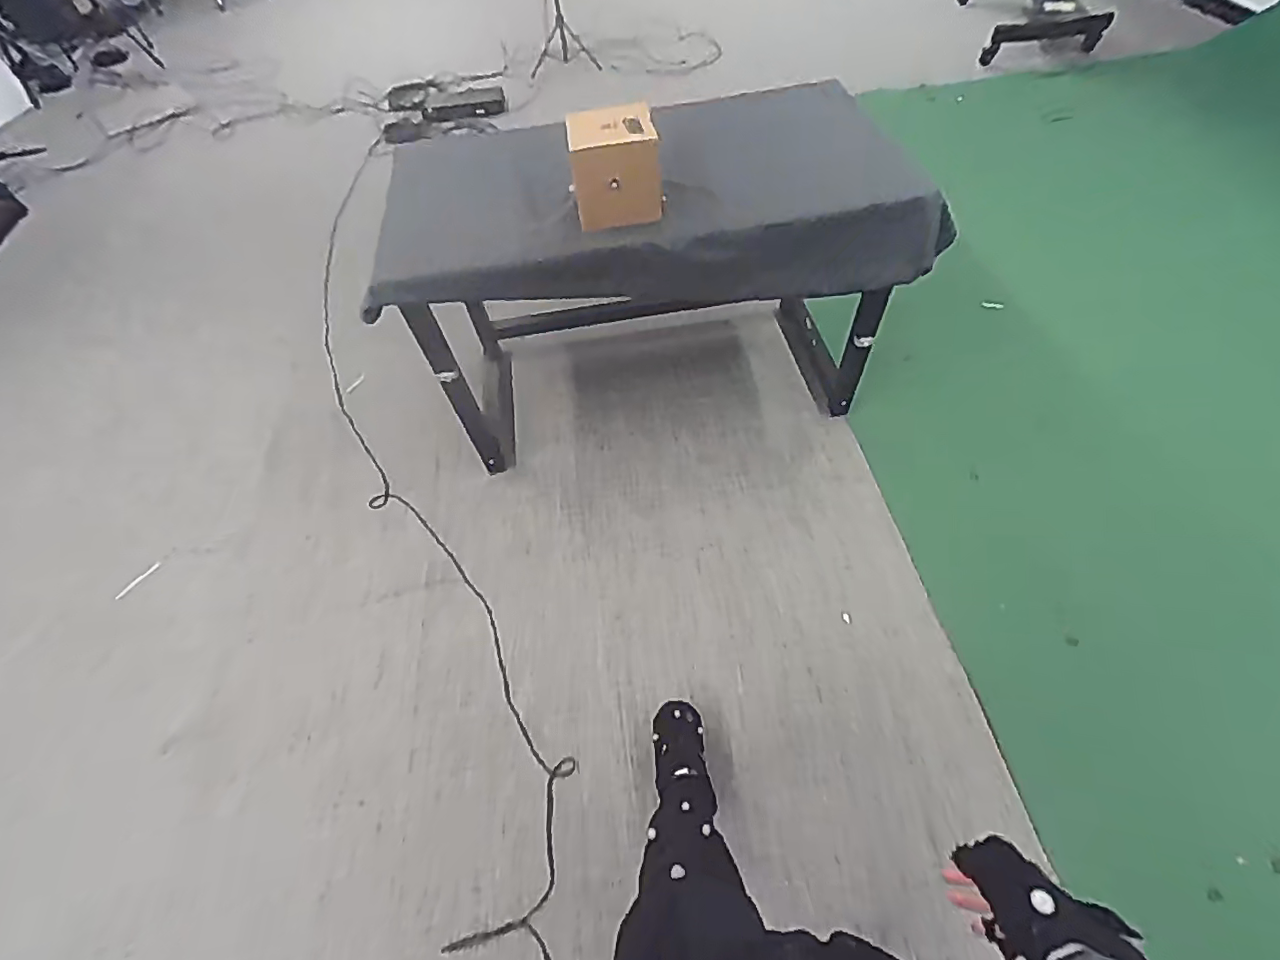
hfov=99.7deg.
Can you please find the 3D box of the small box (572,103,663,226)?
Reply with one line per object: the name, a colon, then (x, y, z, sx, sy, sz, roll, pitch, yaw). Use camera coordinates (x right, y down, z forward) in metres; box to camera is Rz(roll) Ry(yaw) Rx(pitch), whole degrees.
small box: (-0.043, -0.663, 1.144, 0.179, 0.176, 0.168, -5, 54, 1)
